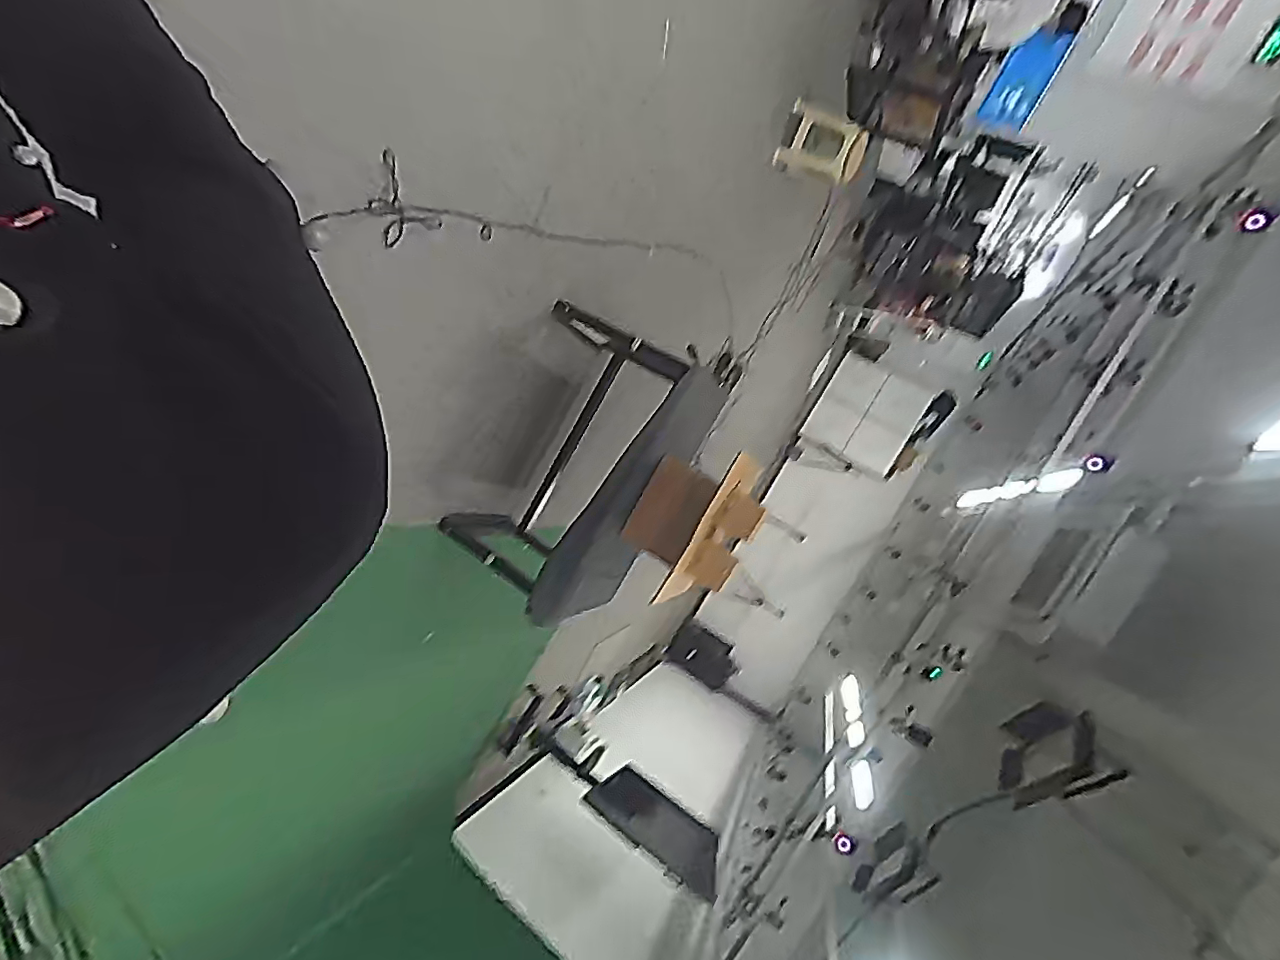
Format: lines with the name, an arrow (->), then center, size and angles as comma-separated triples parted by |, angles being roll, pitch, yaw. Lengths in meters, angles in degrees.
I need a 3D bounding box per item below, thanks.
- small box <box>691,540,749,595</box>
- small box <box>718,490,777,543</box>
small box -> 0.341, 0.367, 2.301 | 0.168, 0.176, 0.179 | -59, 161, 4
small box -> 0.449, 0.153, 2.266 | 0.168, 0.176, 0.179 | -61, 158, 5
